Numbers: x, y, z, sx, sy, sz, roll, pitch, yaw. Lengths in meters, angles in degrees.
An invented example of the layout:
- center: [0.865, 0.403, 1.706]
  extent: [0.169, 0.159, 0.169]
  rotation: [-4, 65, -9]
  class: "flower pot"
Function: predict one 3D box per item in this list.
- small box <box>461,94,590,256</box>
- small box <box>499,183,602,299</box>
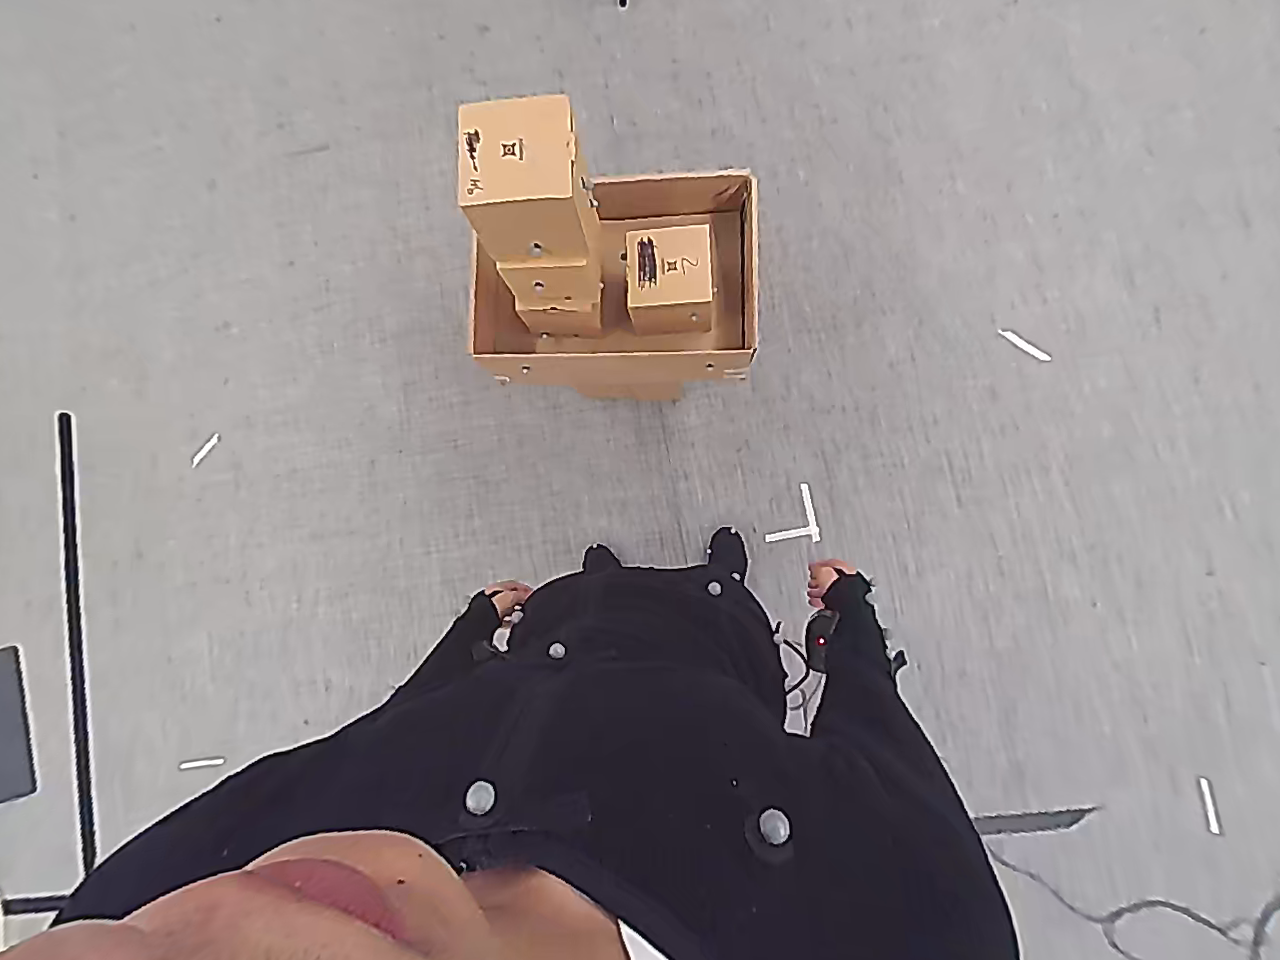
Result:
- center: [-0.176, -0.486, 0.882]
  extent: [0.179, 0.176, 0.168]
  rotation: [-1, 84, 3]
  class: "small box"
- center: [-0.165, -0.461, 1.044]
  extent: [0.168, 0.176, 0.179]
  rotation: [0, 84, 4]
  class: "small box"
